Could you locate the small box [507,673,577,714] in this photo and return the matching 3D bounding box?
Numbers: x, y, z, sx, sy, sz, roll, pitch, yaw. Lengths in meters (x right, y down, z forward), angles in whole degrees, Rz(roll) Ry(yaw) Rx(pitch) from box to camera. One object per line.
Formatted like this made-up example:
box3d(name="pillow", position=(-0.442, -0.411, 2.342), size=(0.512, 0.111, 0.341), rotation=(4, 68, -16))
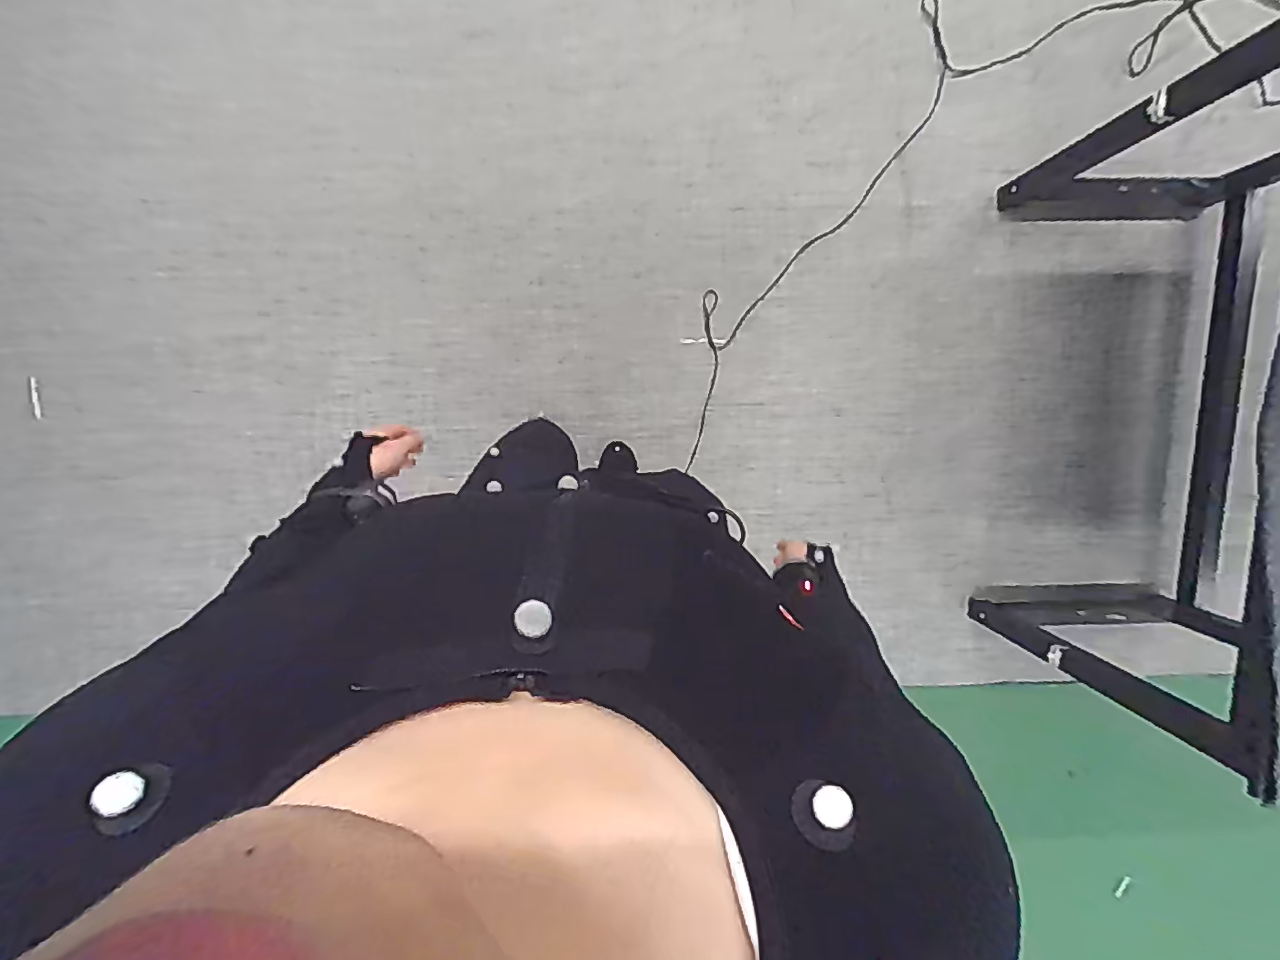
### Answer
box3d(name="small box", position=(-0.258, 0.631, 1.413), size=(0.168, 0.176, 0.179), rotation=(7, 95, -4))
